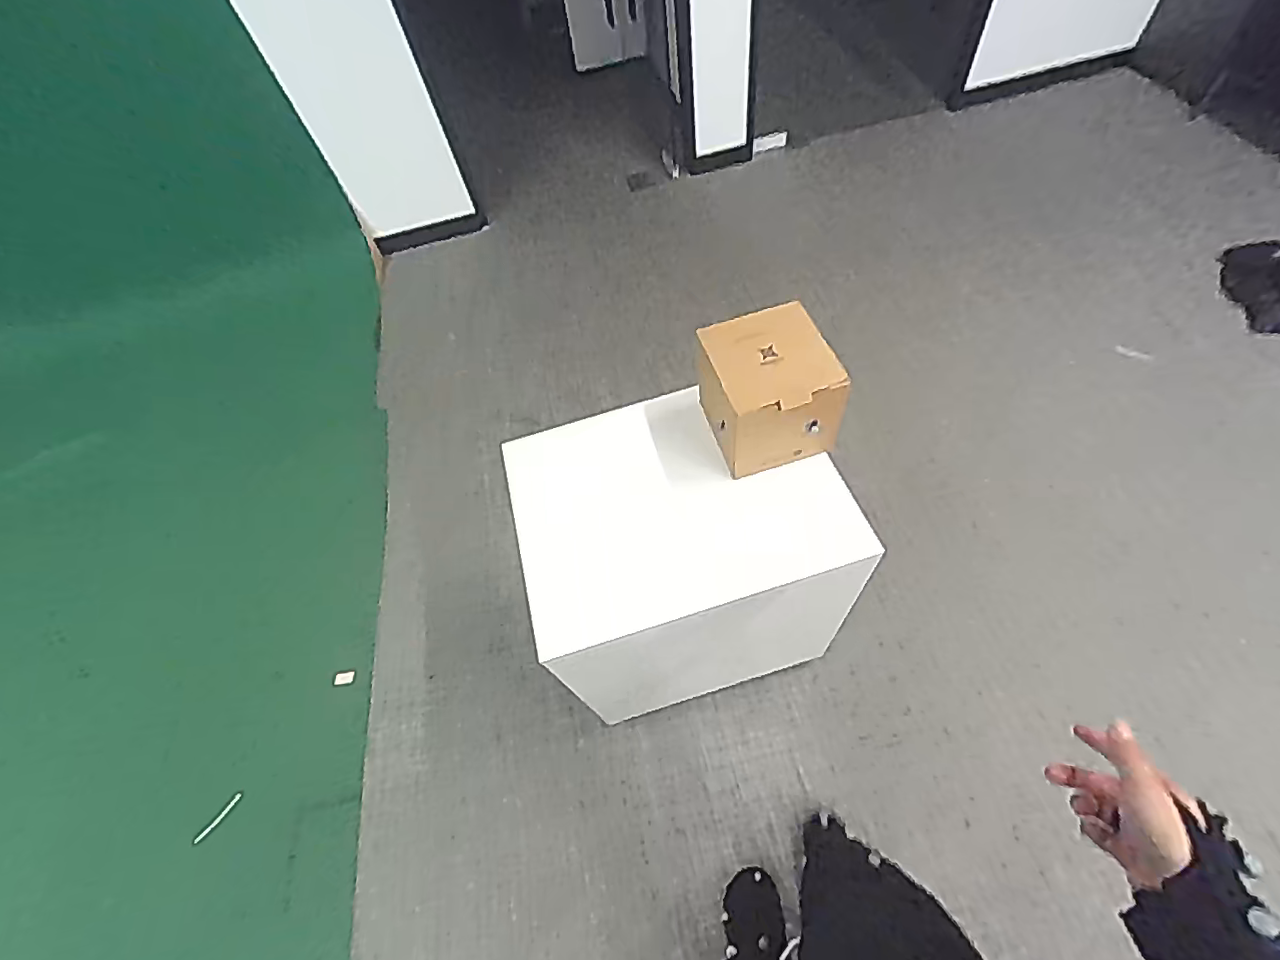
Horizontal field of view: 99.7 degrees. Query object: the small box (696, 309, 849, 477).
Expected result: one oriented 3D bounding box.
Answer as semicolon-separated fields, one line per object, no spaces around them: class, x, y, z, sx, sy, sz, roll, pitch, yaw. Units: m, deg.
small box;0.193;-0.124;0.831;0.168;0.176;0.179;-17;56;-3
